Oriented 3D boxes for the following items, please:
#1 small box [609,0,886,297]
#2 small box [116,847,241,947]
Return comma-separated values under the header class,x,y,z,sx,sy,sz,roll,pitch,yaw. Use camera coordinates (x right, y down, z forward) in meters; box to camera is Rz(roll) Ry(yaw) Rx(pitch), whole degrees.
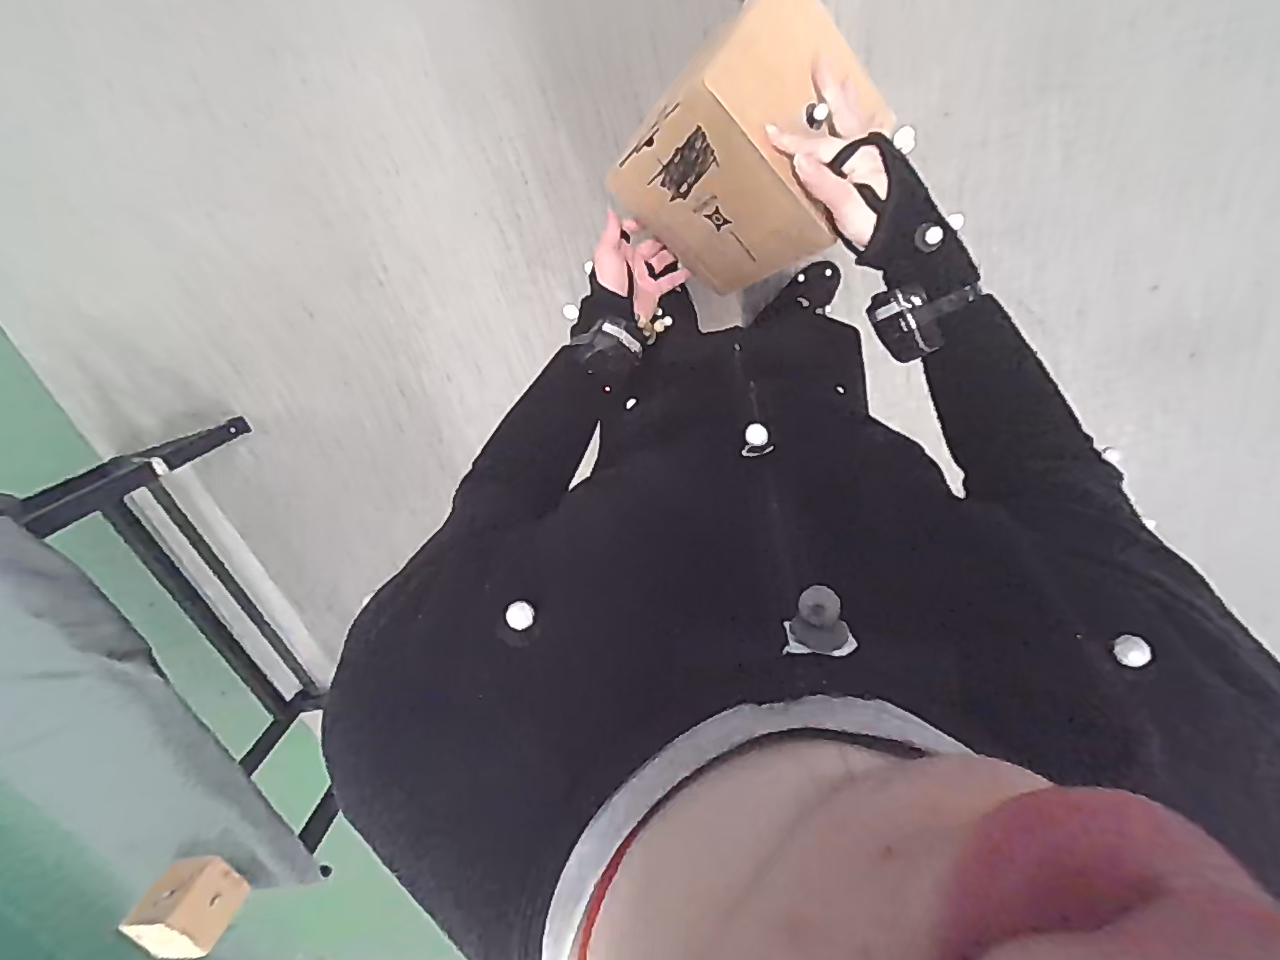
class,x,y,z,sx,sy,sz,roll,pitch,yaw
small box,0.106,-0.322,0.536,0.179,0.168,0.176,35,74,-26
small box,-1.263,1.153,1.502,0.179,0.176,0.168,-15,115,13
